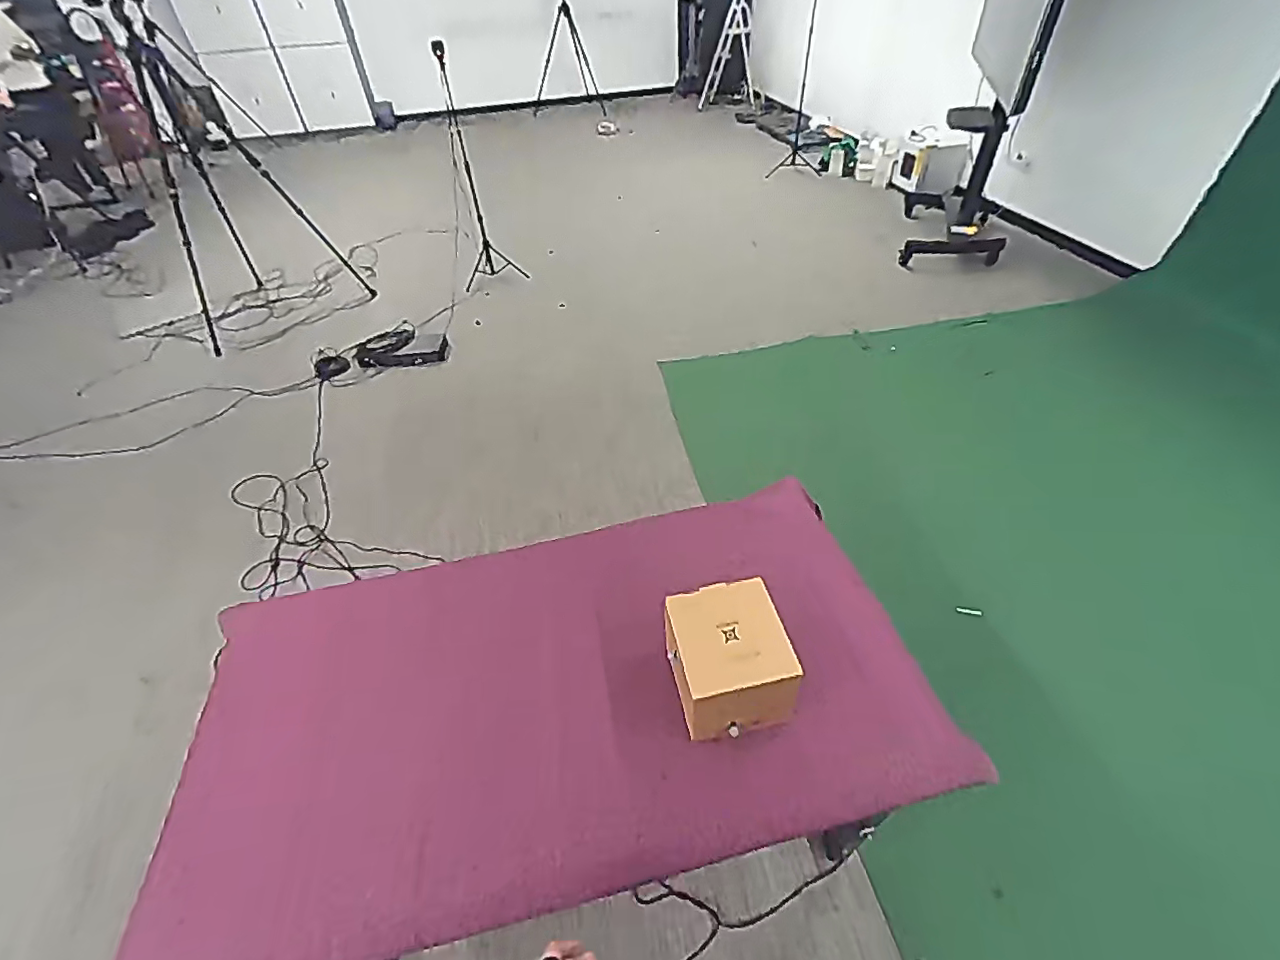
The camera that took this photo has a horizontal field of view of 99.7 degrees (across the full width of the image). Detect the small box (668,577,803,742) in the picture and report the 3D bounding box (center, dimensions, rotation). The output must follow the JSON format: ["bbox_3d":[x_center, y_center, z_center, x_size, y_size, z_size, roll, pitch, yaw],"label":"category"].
[{"bbox_3d":[0.143,0.288,0.869,0.168,0.176,0.179,-11,44,-4],"label":"small box"}]
